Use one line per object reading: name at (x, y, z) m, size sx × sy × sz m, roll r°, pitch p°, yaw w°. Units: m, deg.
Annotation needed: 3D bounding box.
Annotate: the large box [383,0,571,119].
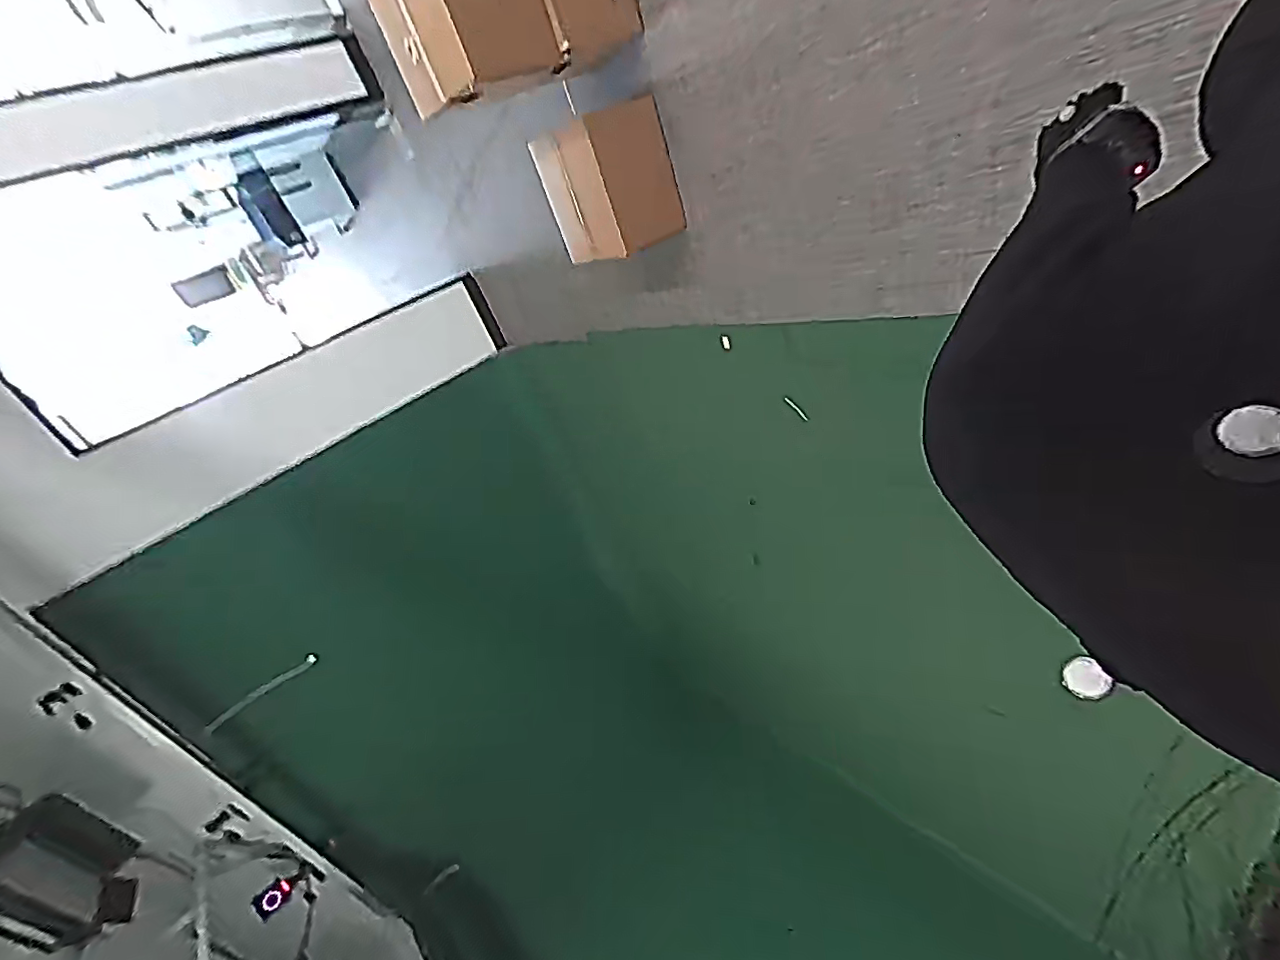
large box at (-0.449, -1.262, 1.432) m, size 0.320 × 0.320 × 0.408 m, roll 12°, pitch 133°, yaw 45°
